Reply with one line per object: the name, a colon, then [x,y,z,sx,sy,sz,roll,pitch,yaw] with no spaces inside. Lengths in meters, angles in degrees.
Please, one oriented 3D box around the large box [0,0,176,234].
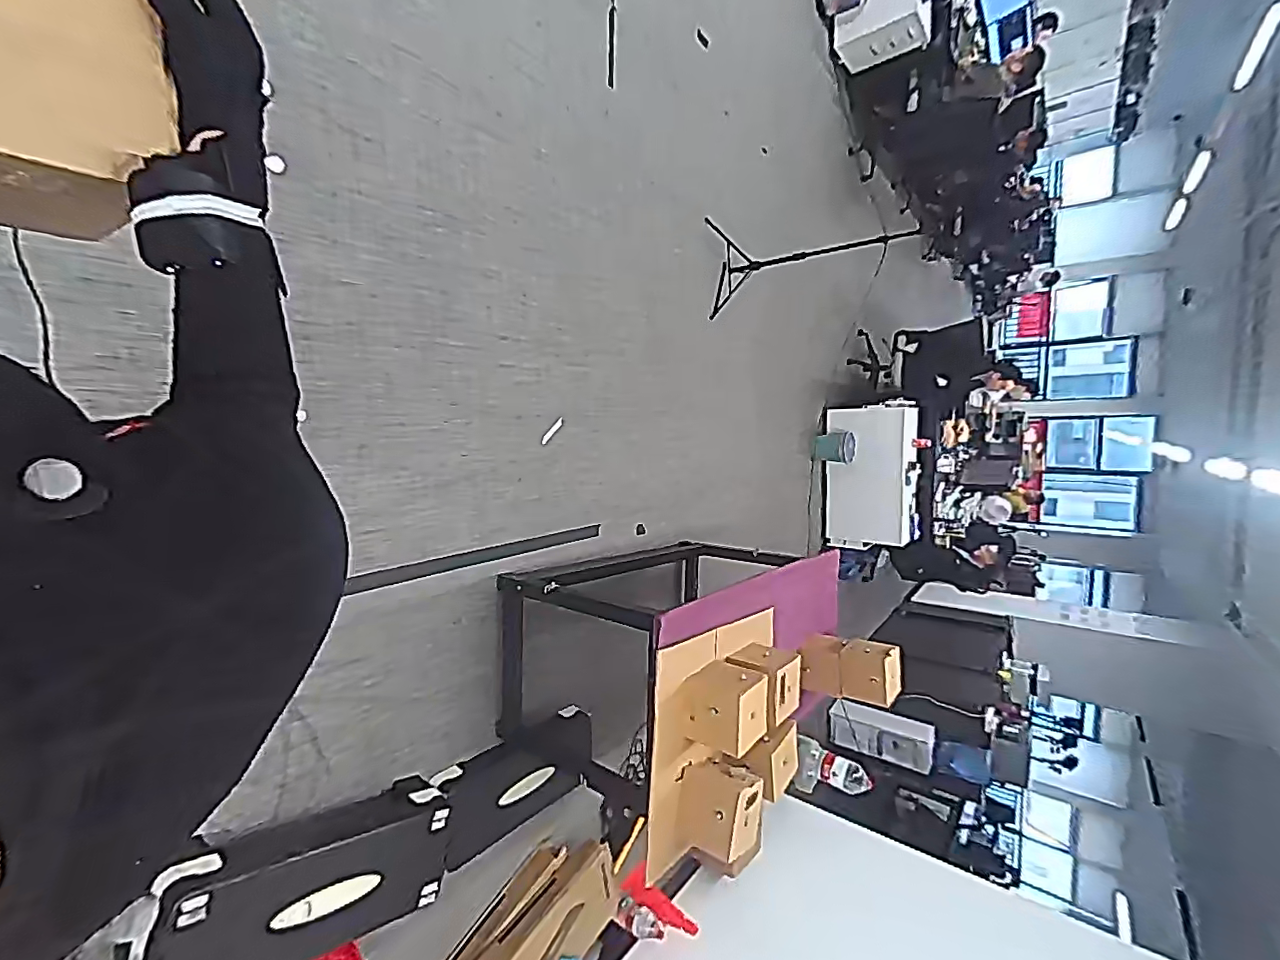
large box: [-0.585,-0.369,0.316,0.408,0.320,0.320,-9,107,-54]
